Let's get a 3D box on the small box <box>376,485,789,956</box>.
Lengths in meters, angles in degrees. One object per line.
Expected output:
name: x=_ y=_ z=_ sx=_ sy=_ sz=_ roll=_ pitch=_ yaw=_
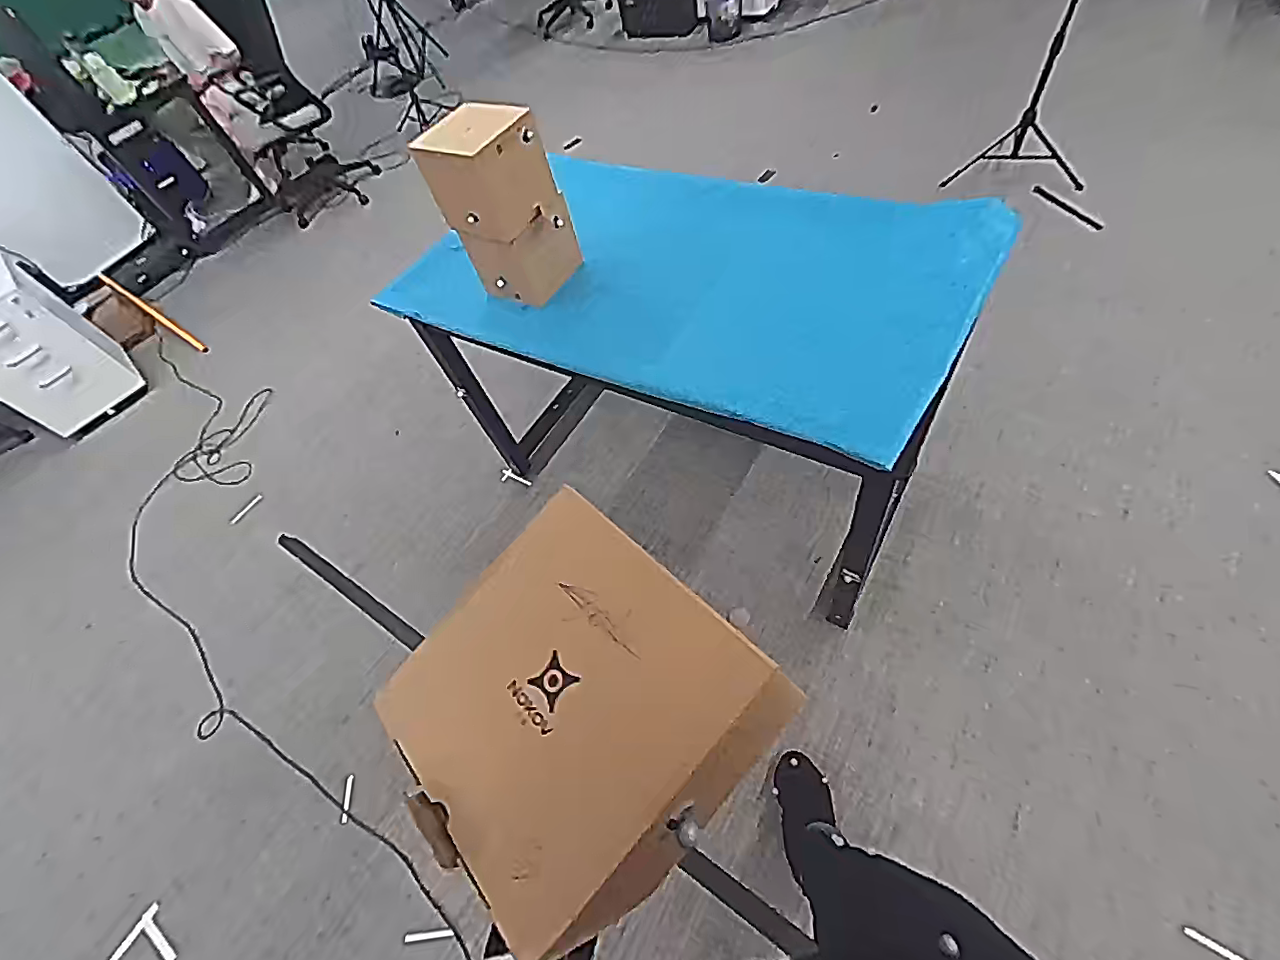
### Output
small box: x=-0.022 y=0.141 z=0.355 sx=0.168 sy=0.176 sz=0.179 roll=38 pitch=85 yaw=33

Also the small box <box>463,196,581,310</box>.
small box: x=-0.249 y=-0.507 z=1.186 sx=0.168 sy=0.176 sz=0.179 roll=25 pitch=68 yaw=28

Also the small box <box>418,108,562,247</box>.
small box: x=-0.287 y=-0.587 z=1.044 sx=0.179 sy=0.176 sz=0.168 roll=24 pitch=65 yaw=26
